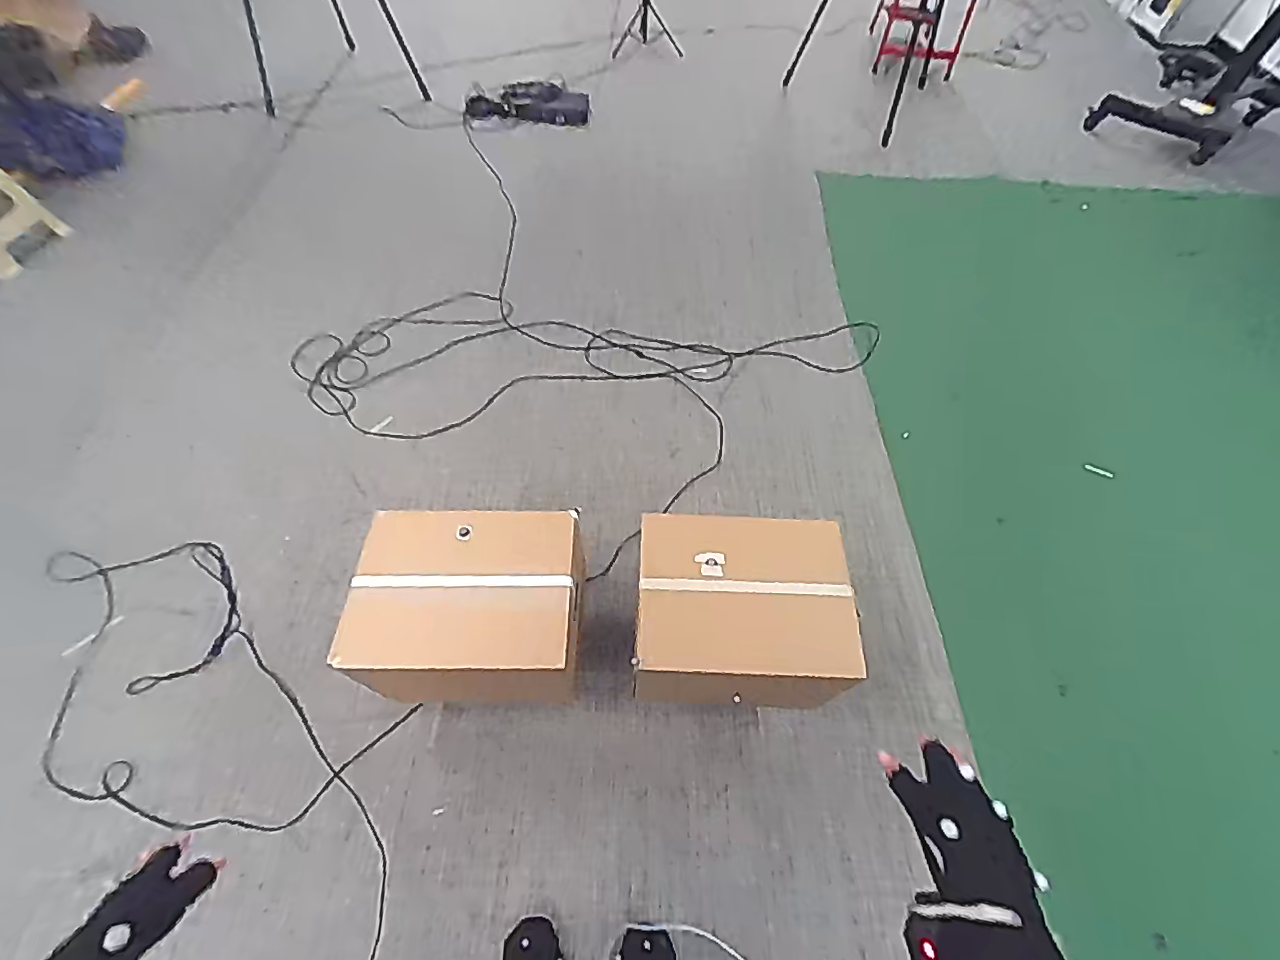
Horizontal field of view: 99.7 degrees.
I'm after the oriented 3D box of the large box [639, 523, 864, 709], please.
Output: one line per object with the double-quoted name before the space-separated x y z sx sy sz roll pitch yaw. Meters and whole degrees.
"large box" 0.206 0.303 1.163 0.408 0.320 0.320 3 57 0
